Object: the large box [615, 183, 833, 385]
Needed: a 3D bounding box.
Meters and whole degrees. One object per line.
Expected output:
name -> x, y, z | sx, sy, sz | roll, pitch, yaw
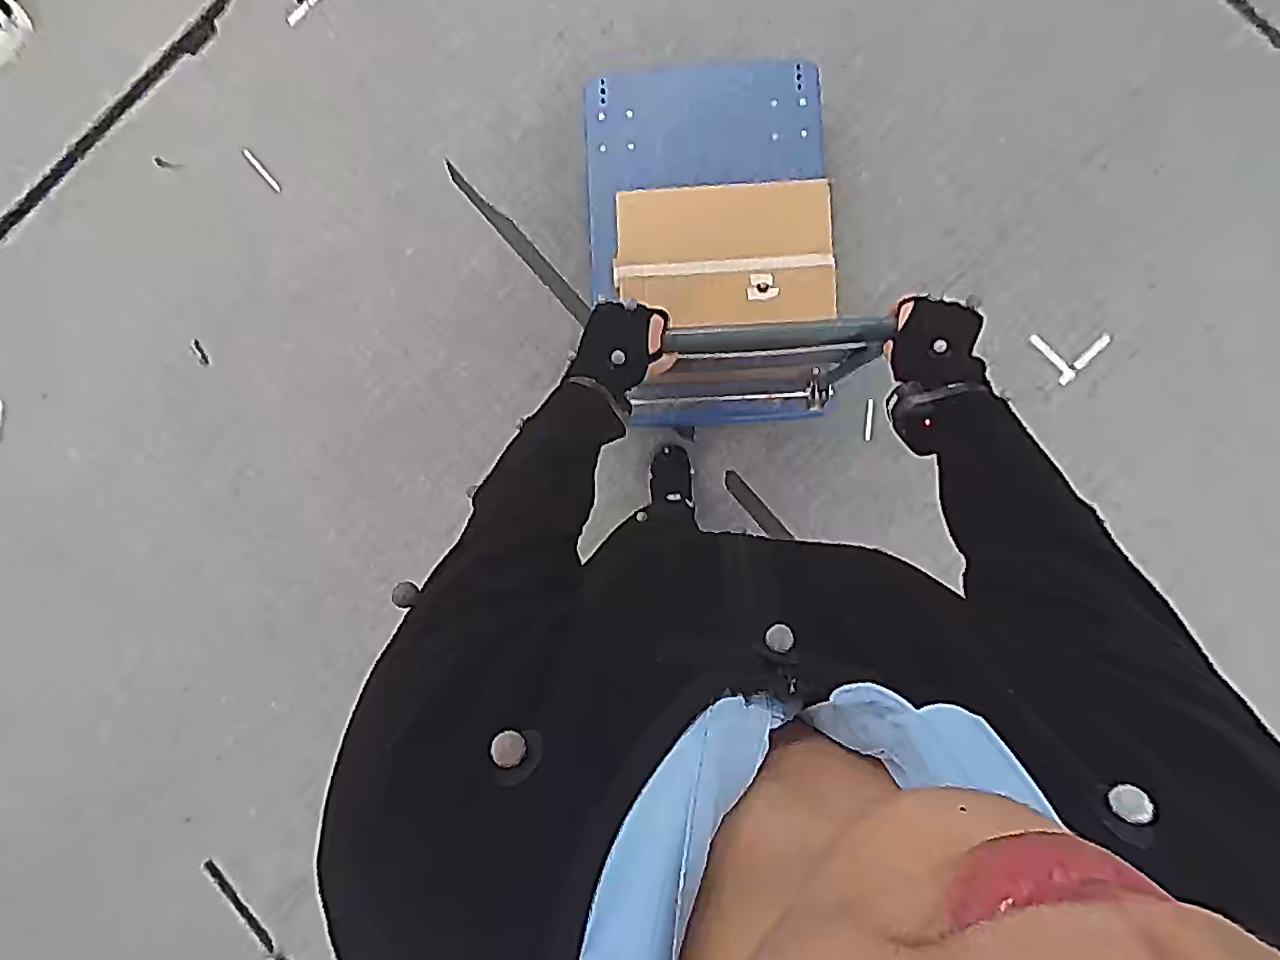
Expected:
large box -> 0.161, -0.396, 1.170 | 0.408, 0.320, 0.320 | -2, 90, 1
